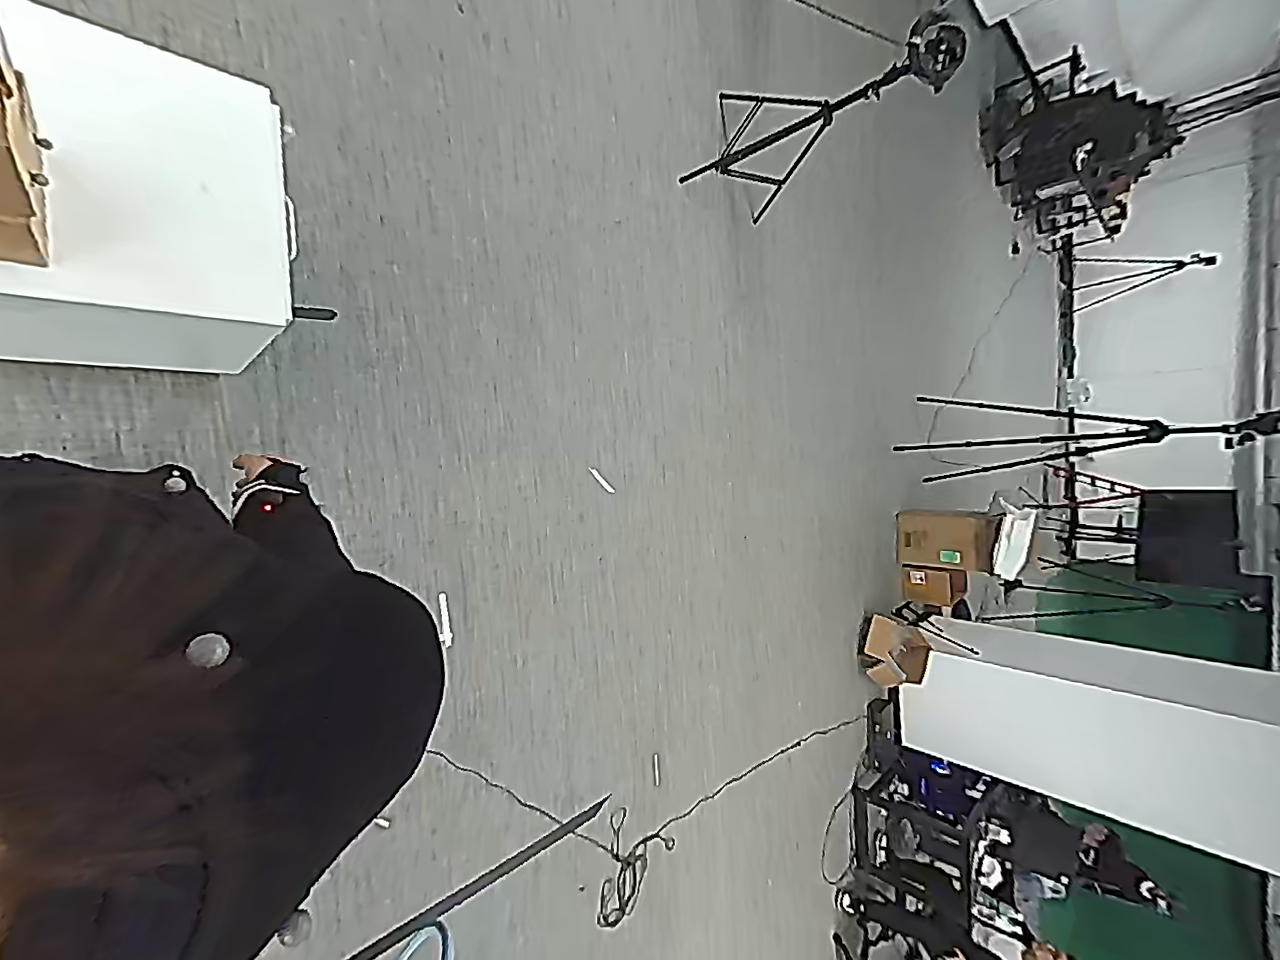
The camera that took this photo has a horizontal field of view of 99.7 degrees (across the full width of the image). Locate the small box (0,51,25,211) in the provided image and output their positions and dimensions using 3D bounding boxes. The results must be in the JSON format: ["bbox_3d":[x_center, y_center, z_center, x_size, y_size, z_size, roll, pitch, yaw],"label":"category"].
[{"bbox_3d":[-0.699,-0.365,0.487,0.179,0.176,0.168,-9,95,-42],"label":"small box"}]

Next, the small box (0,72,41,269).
[{"bbox_3d":[-0.809,-0.364,0.609,0.168,0.176,0.179,-4,92,-44],"label":"small box"}]
